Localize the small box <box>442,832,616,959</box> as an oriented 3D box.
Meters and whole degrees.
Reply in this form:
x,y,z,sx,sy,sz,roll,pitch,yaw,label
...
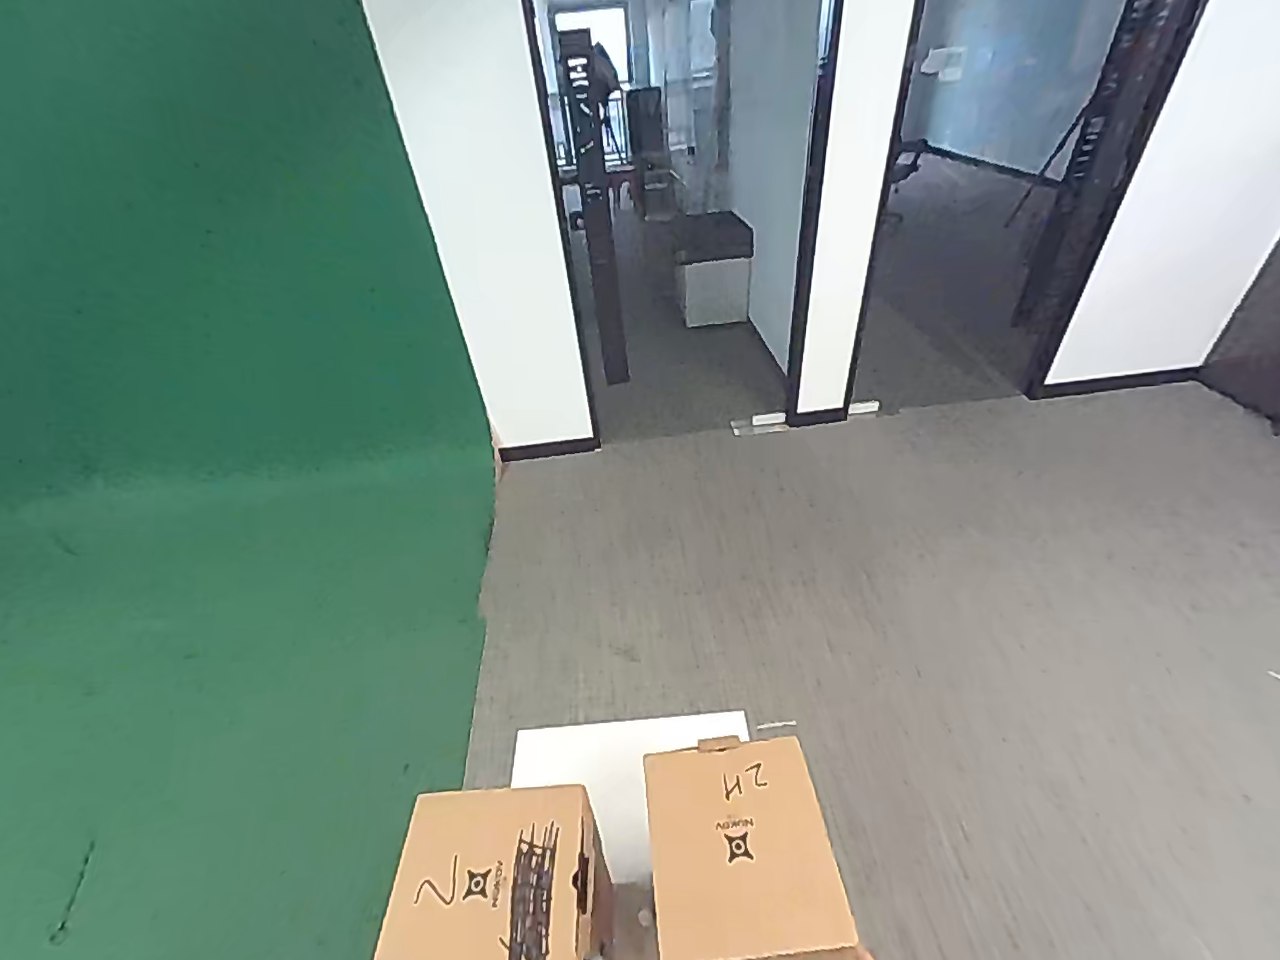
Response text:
x,y,z,sx,sy,sz,roll,pitch,yaw,label
-0.124,0.555,0.657,0.179,0.176,0.168,-3,39,0,small box

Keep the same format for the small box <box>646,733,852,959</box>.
x,y,z,sx,sy,sz,roll,pitch,yaw,label
0.100,0.395,0.563,0.168,0.176,0.179,-7,39,0,small box
